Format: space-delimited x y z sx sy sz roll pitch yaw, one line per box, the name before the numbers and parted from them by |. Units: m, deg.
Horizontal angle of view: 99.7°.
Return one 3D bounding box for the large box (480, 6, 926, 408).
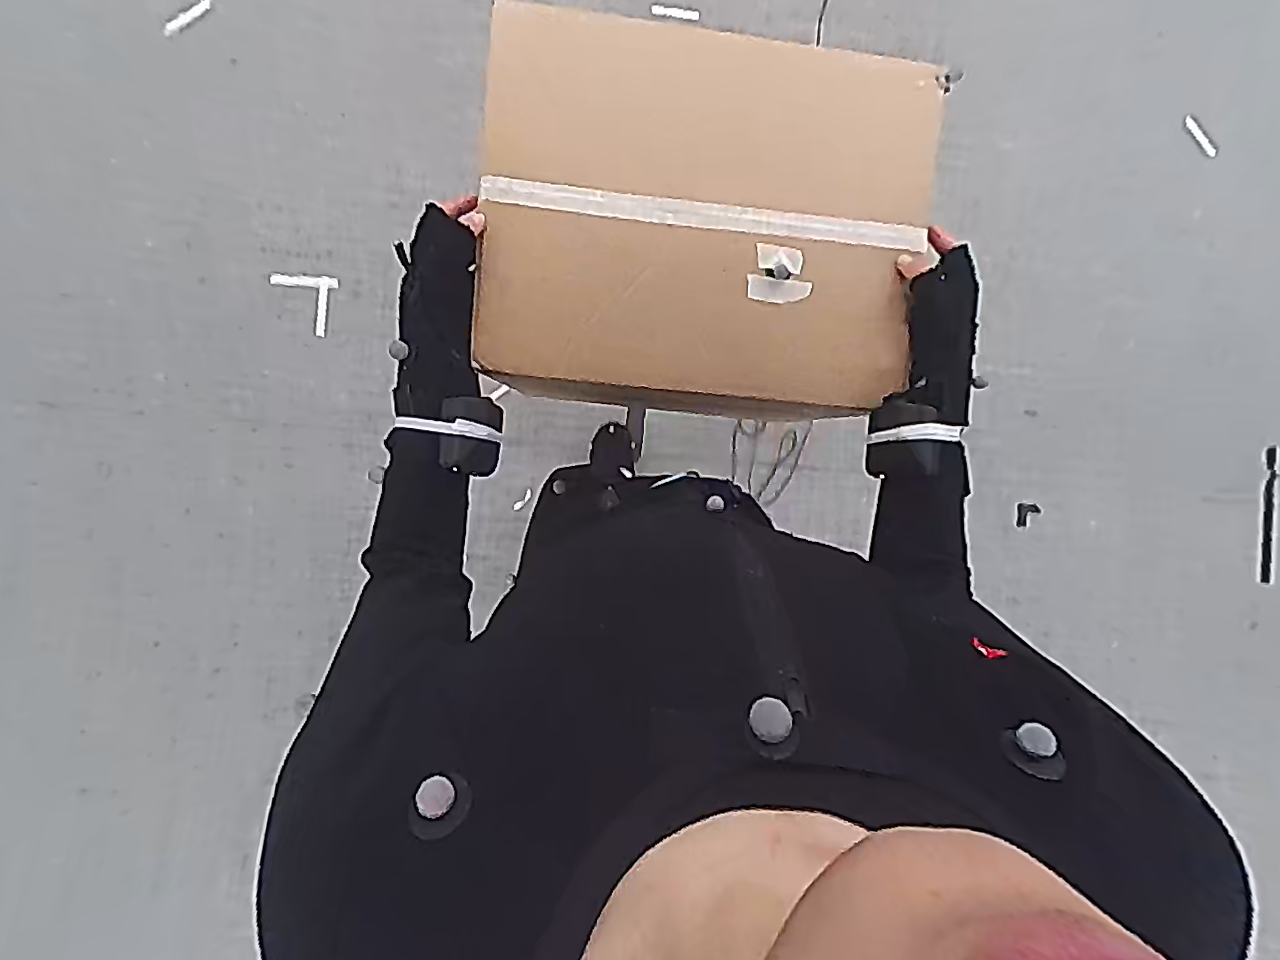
large box | 0.047 -0.263 0.649 0.408 0.320 0.320 5 95 -5
